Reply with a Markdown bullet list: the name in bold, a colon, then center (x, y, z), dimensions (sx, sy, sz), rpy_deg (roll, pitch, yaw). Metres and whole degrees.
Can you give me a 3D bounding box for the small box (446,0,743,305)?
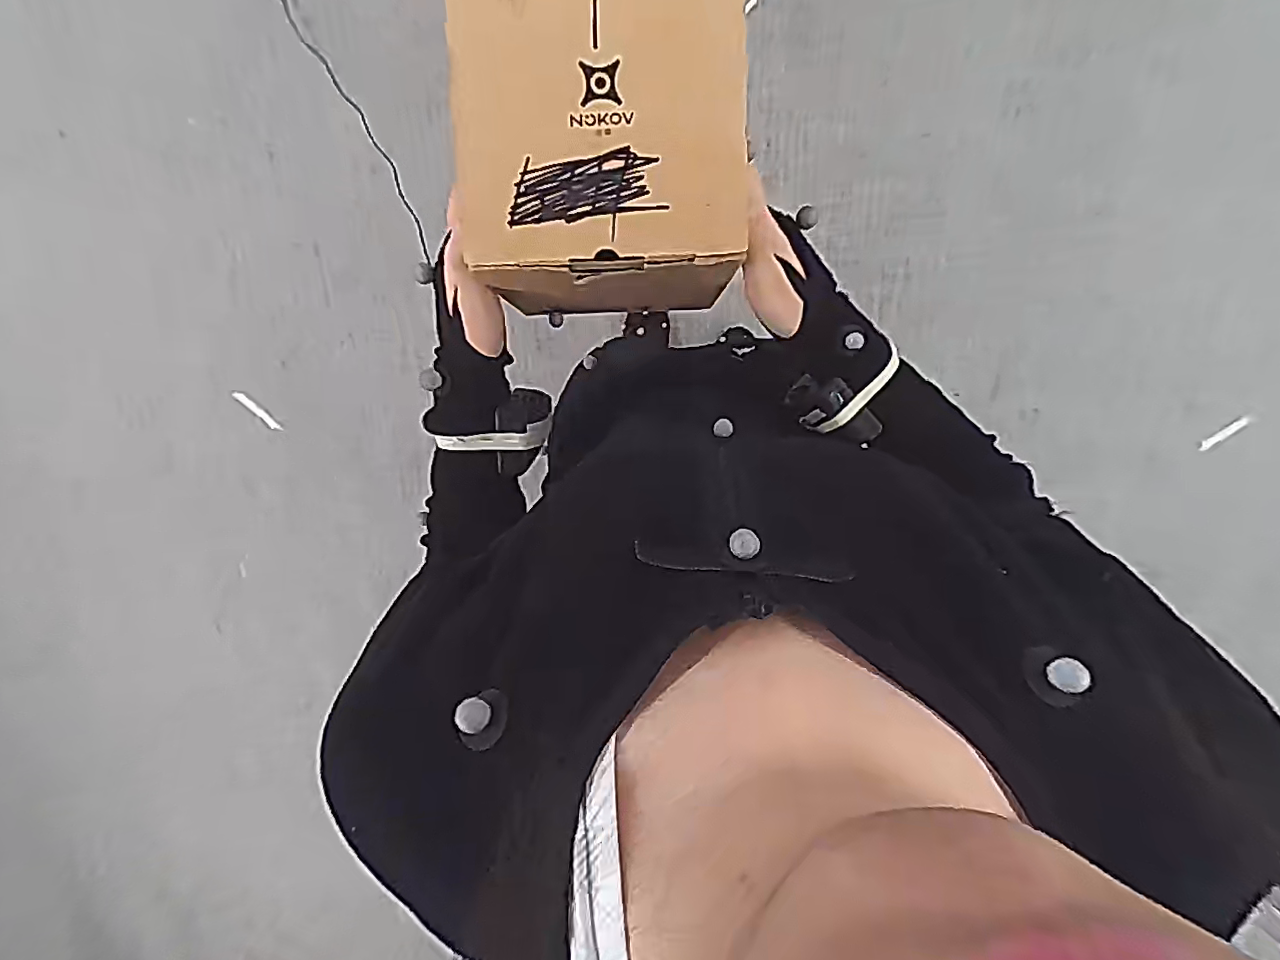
- **small box**: center (-0.024, -0.225, 0.381), dimensions (0.168, 0.176, 0.179), rpy_deg (-1, 97, 0)
